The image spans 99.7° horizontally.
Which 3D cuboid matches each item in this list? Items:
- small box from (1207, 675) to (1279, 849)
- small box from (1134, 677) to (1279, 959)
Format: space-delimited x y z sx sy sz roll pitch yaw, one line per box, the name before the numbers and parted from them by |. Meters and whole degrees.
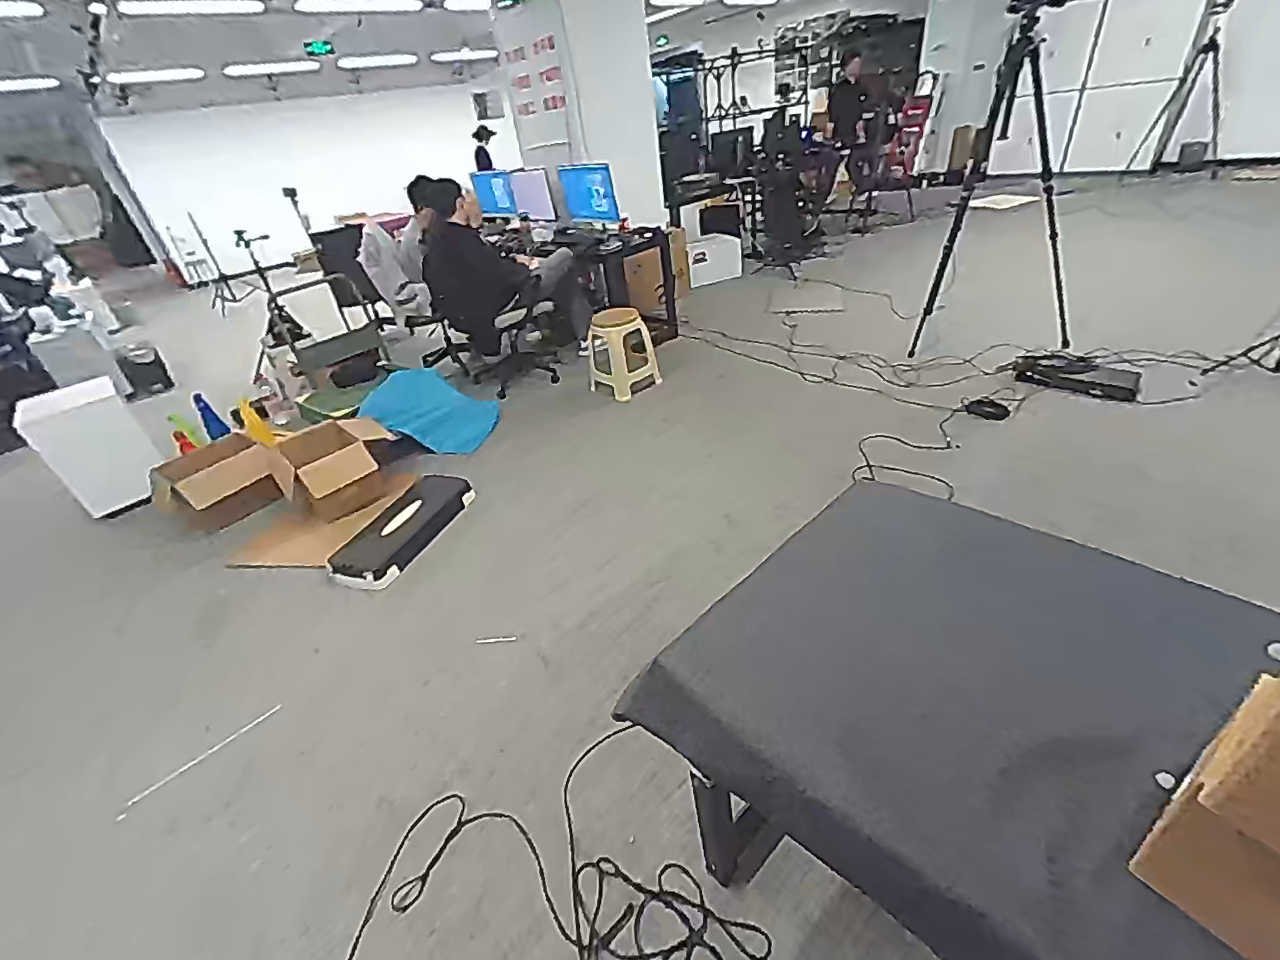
small box | 0.546 0.191 0.358 0.168 0.176 0.179 -25 37 -24
small box | 0.582 0.316 0.457 0.168 0.176 0.179 -26 36 -25
